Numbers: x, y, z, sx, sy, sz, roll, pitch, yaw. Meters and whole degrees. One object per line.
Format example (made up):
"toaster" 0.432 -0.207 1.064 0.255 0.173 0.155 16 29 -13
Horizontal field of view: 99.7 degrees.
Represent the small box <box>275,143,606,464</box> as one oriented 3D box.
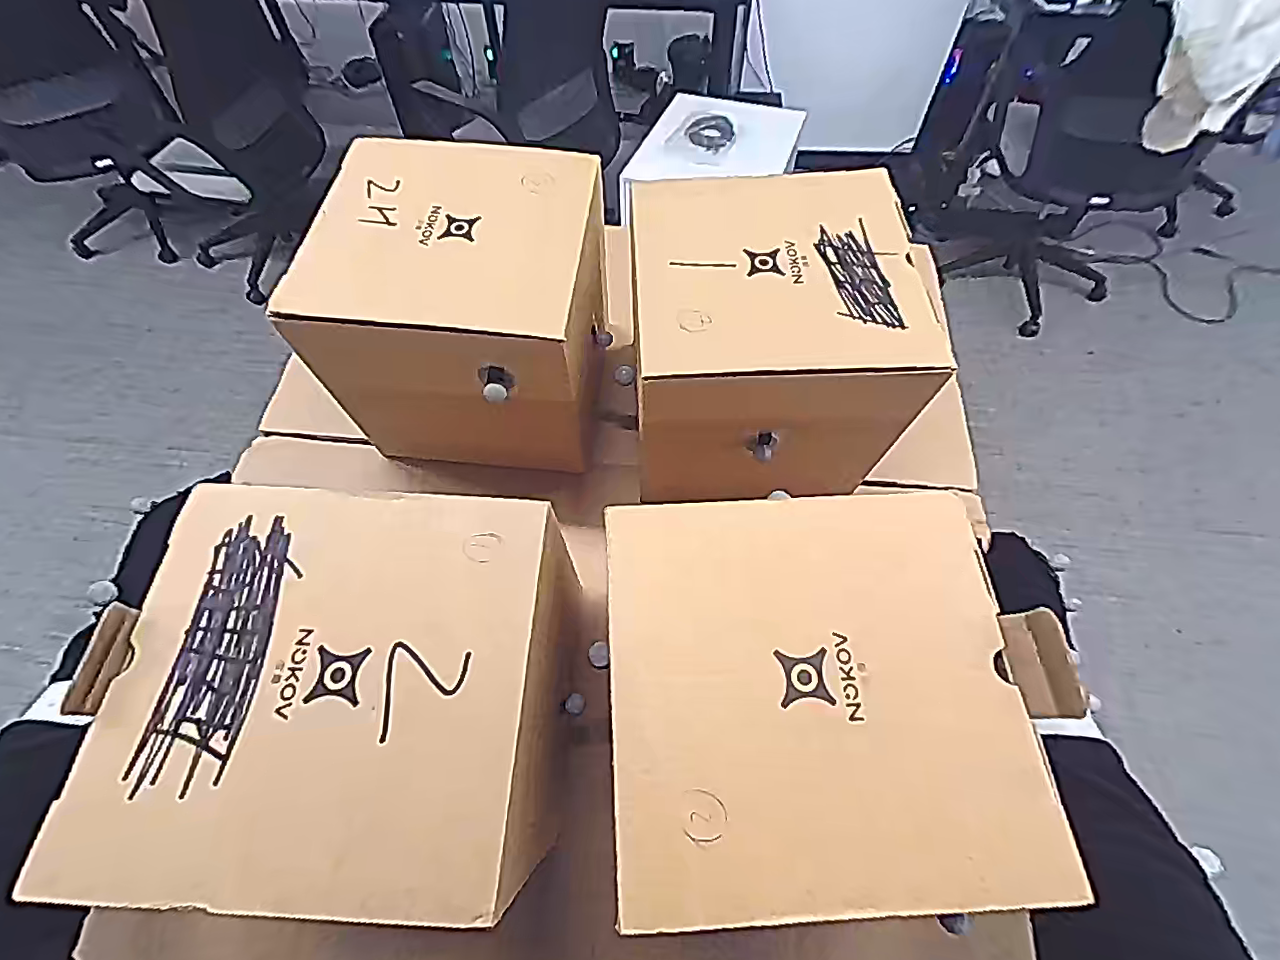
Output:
"small box" -0.124 -0.125 0.424 0.179 0.176 0.168 6 63 3
